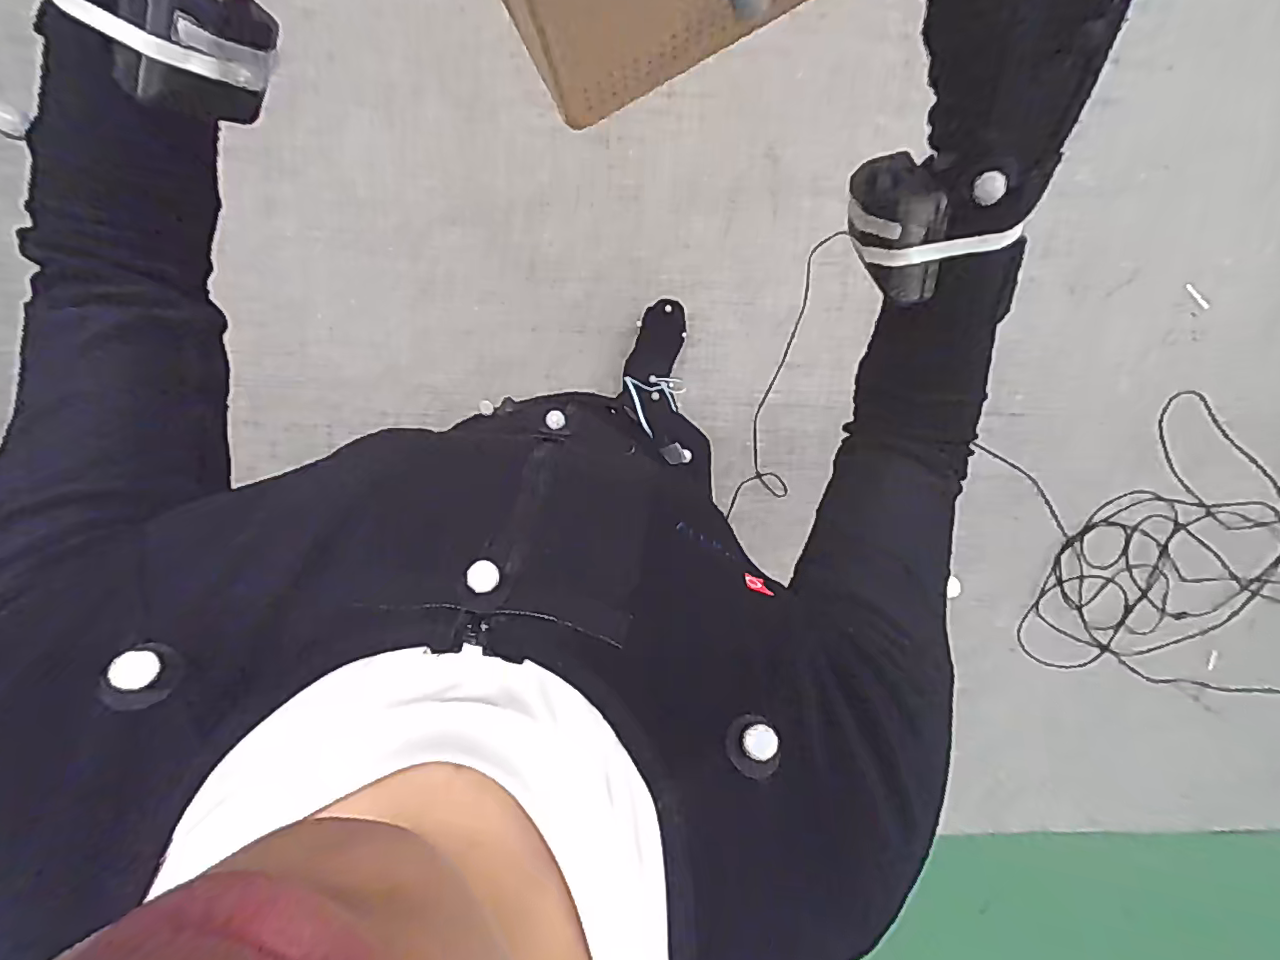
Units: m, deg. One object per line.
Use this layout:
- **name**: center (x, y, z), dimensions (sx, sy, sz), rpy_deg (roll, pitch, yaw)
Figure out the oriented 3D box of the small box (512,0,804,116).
- **small box**: center (0.006, -0.284, 0.187), dimensions (0.179, 0.176, 0.168), rpy_deg (-28, 91, 4)
